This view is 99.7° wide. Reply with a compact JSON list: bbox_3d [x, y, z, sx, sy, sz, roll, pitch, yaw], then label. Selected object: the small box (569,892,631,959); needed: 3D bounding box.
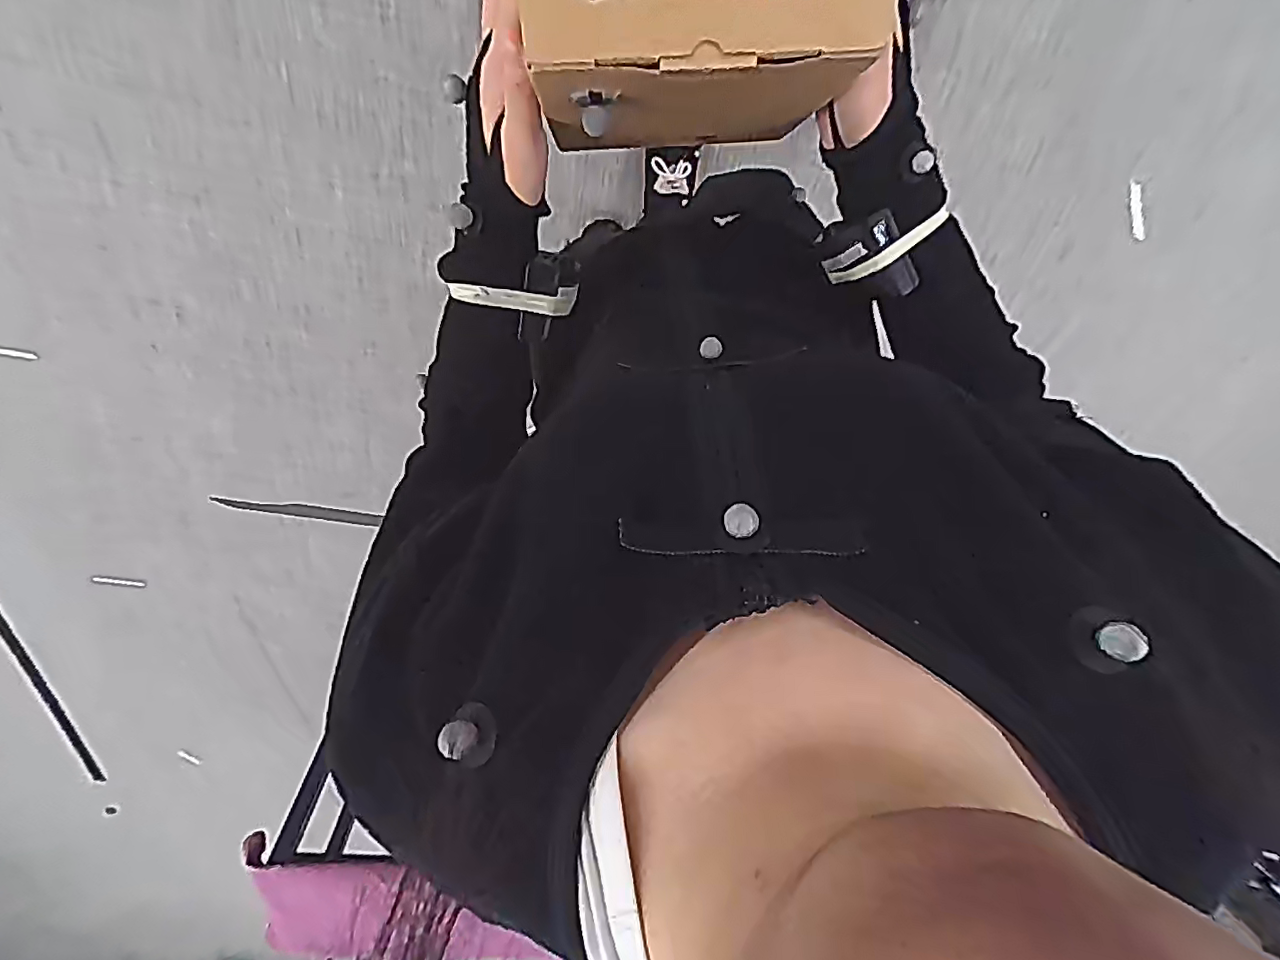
[{"bbox_3d":[-0.120,1.363,1.612,0.168,0.176,0.179,6,124,-8],"label":"small box"}]
